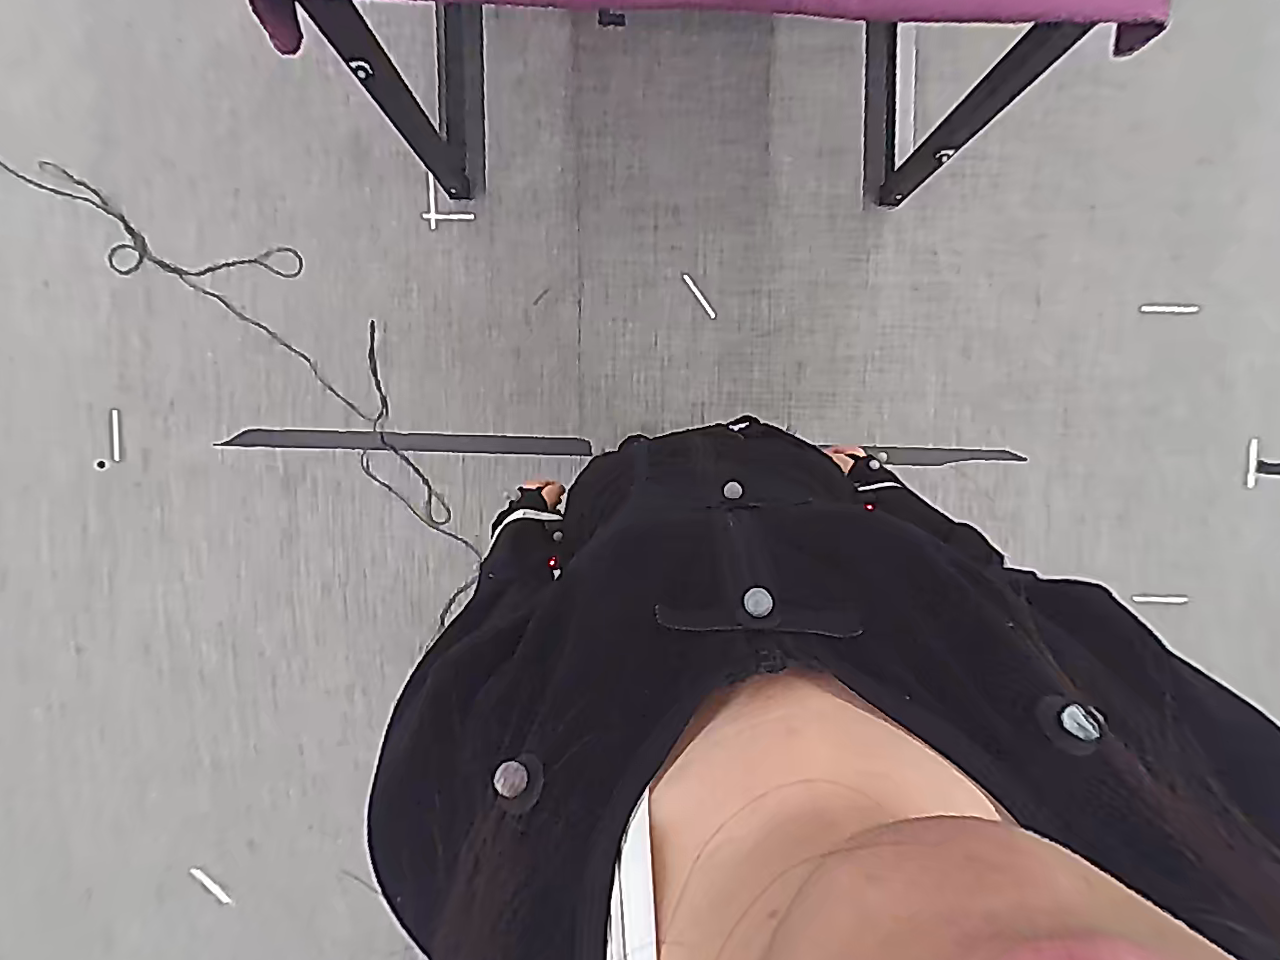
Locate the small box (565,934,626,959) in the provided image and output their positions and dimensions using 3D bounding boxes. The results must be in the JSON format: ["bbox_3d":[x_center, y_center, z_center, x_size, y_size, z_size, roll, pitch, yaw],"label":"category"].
[{"bbox_3d":[-0.118,1.394,1.469,0.168,0.176,0.179,-5,95,-1],"label":"small box"}]
